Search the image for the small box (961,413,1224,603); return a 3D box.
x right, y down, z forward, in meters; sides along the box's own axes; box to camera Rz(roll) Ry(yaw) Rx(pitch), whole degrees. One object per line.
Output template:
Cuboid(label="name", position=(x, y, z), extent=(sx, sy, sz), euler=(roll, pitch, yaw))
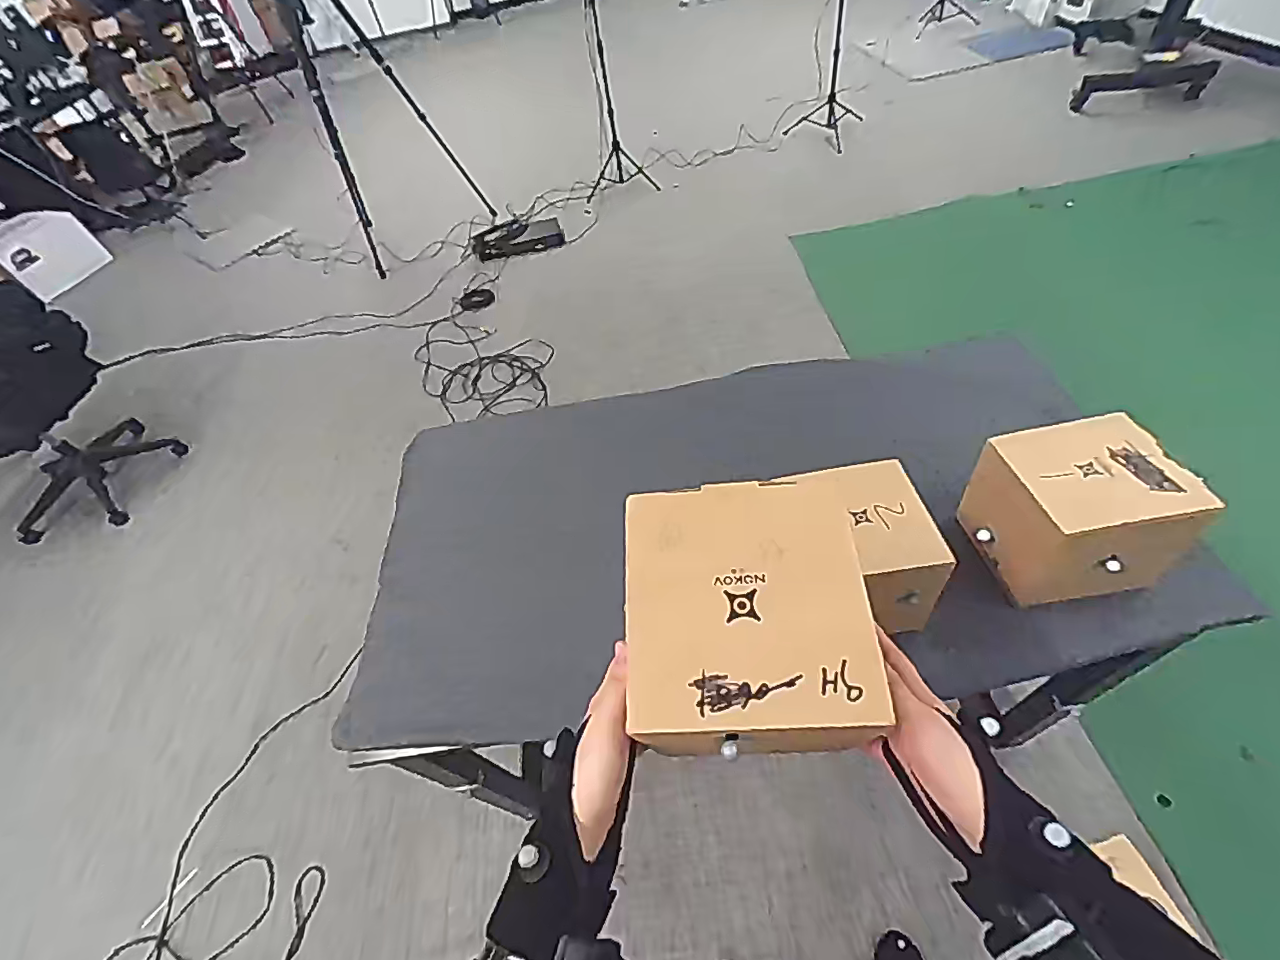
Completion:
Cuboid(label="small box", position=(0.559, 0.041, 0.704), extent=(0.179, 0.176, 0.168), euler=(-11, 47, 5))

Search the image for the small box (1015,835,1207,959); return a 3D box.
Cuboid(label="small box", position=(0.852, 0.786, 1.002), extent=(0.168, 0.176, 0.179), euler=(-16, 51, -2))

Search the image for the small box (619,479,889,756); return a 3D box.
Cuboid(label="small box", position=(0.080, 0.119, 0.440), extent=(0.168, 0.176, 0.179), euler=(-5, 59, 8))
